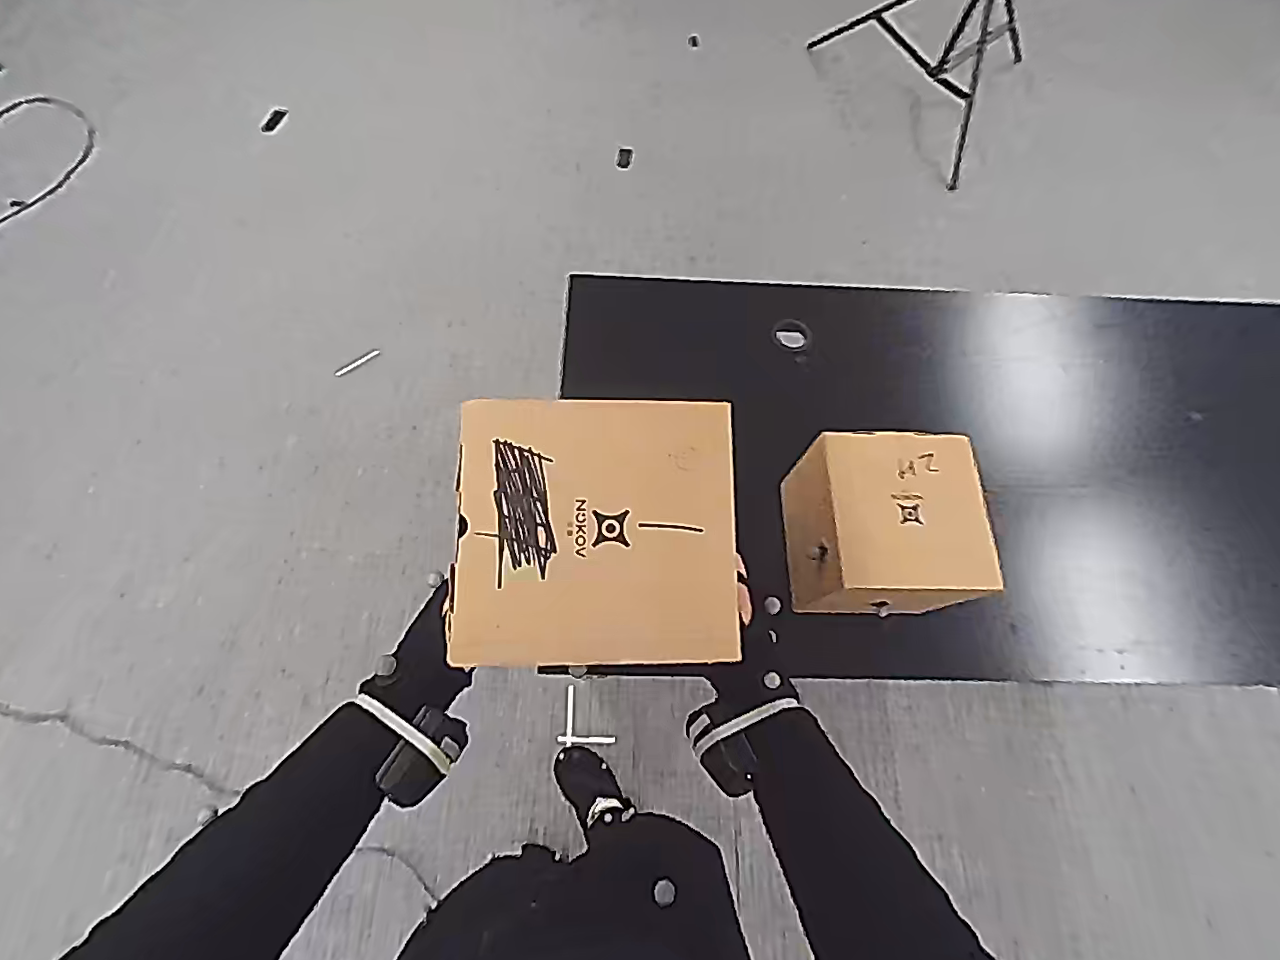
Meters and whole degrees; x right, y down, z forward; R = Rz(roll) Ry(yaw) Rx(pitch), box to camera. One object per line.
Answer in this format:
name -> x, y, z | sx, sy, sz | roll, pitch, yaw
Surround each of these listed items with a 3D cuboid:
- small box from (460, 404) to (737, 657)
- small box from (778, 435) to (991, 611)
small box -> -0.028, 0.046, 0.430 | 0.179, 0.176, 0.168 | 1, 79, -3
small box -> 0.276, 0.060, 0.654 | 0.168, 0.176, 0.179 | 1, 68, -3
